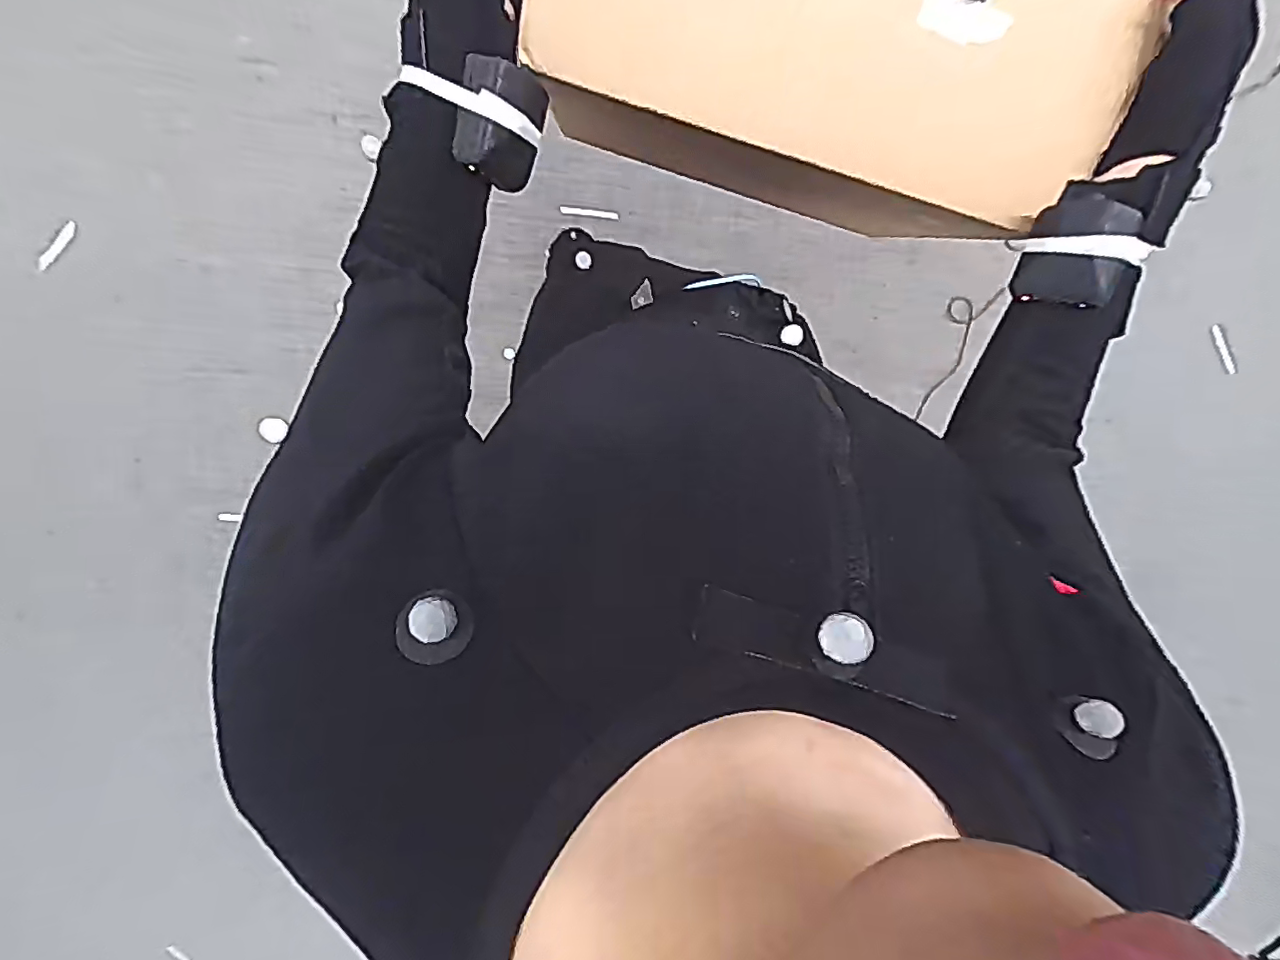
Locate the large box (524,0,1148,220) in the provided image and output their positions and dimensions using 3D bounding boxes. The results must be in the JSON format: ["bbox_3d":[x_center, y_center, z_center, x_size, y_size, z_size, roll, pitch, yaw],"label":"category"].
[{"bbox_3d":[0.140,-0.436,0.458,0.408,0.320,0.320,12,115,-9],"label":"large box"}]
